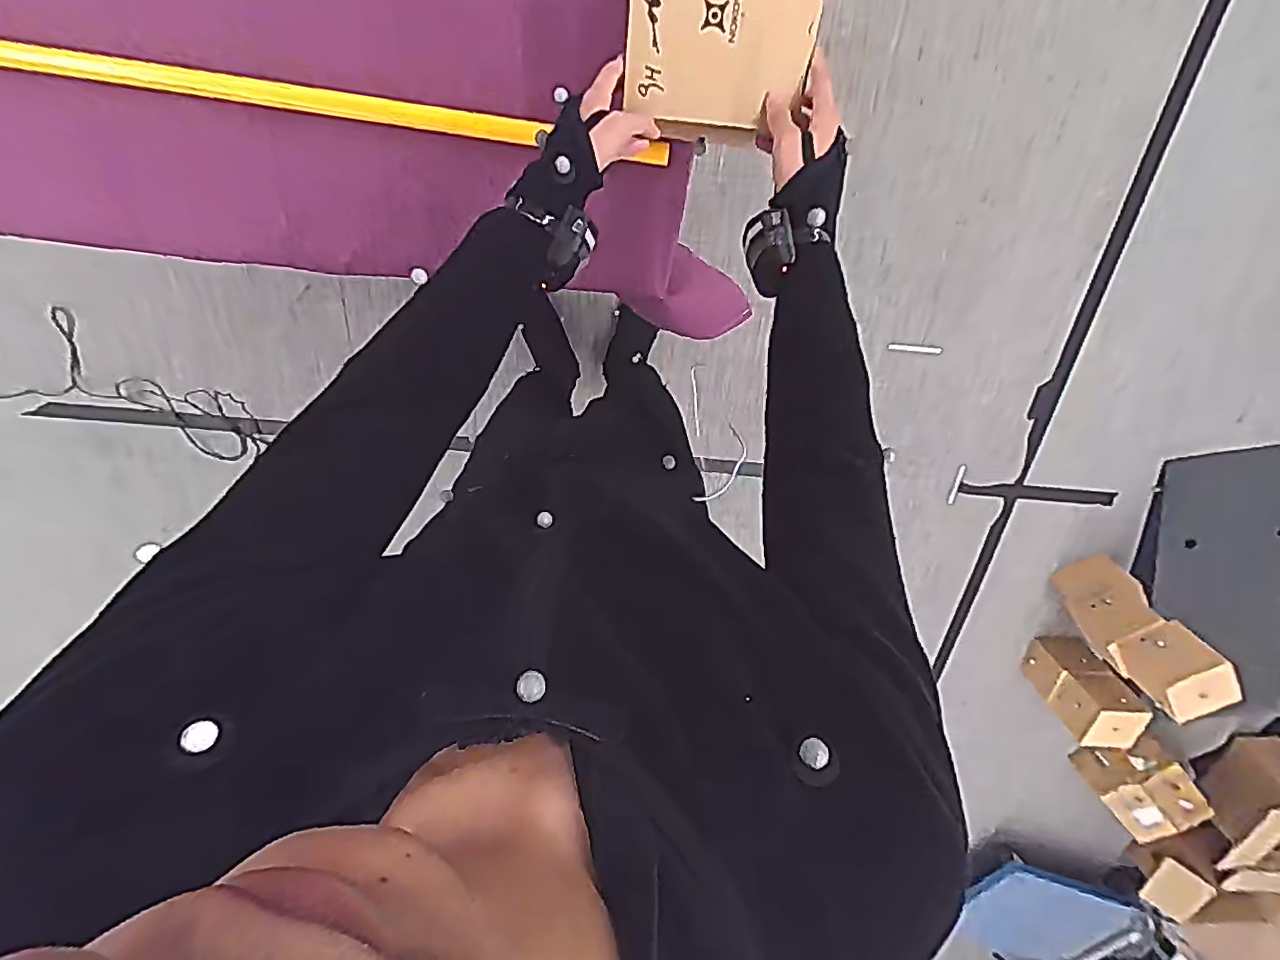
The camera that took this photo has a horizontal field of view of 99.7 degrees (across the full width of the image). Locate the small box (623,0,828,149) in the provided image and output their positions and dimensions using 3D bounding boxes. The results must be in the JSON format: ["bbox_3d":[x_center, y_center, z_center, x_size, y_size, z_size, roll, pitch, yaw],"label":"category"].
[{"bbox_3d":[0.080,-0.453,0.561,0.179,0.176,0.168,6,117,-1],"label":"small box"}]
